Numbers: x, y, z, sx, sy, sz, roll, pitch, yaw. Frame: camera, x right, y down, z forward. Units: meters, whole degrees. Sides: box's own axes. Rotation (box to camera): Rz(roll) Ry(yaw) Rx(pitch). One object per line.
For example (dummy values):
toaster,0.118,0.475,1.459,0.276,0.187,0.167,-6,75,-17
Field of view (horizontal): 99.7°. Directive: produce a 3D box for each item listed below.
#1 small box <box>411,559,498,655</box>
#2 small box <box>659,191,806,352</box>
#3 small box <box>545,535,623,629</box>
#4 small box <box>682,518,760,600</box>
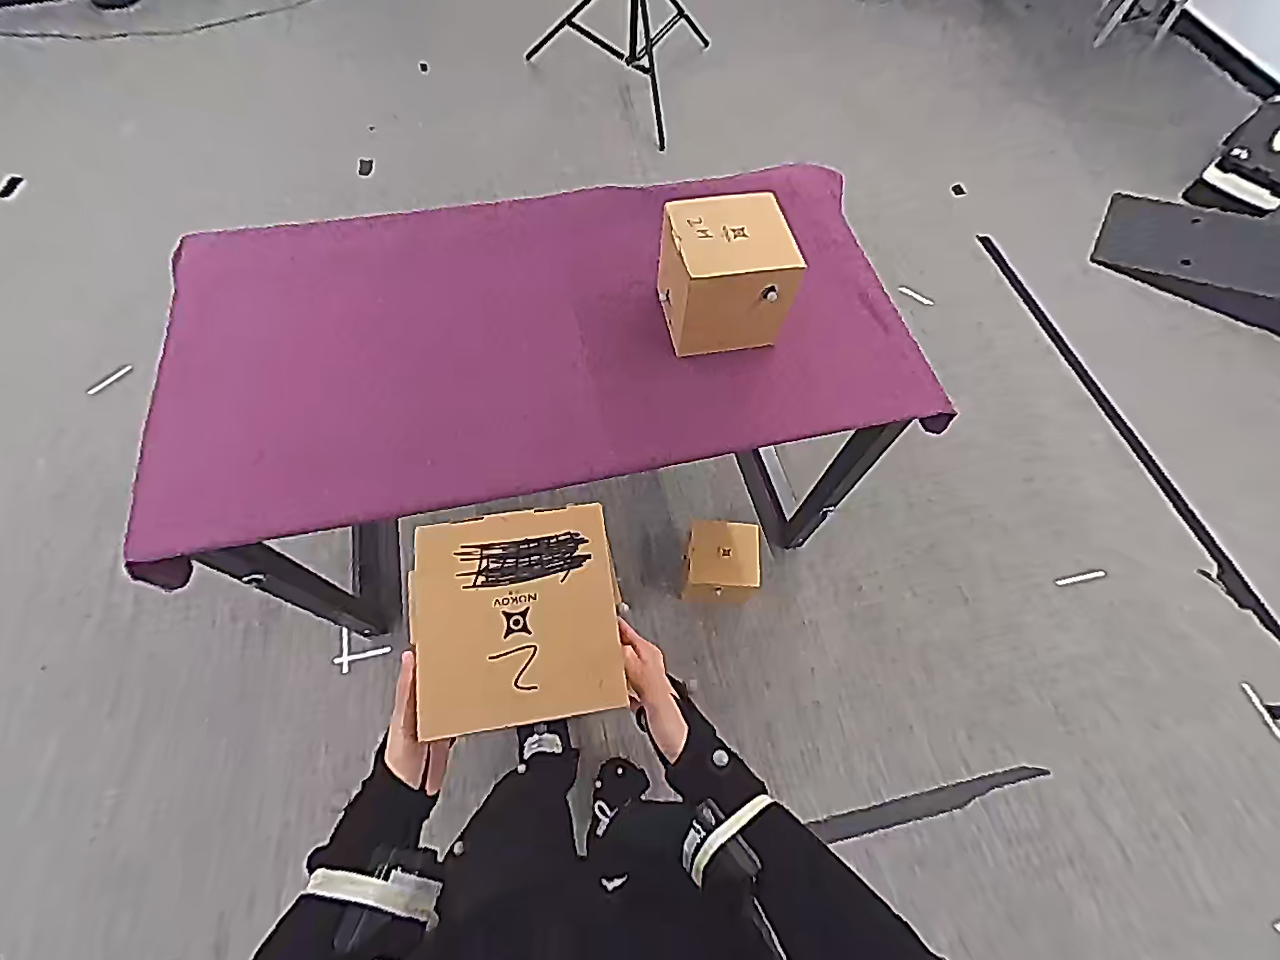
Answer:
small box,-0.452,0.315,1.332,0.168,0.176,0.179,-9,63,-7
small box,0.135,-0.326,0.862,0.179,0.176,0.168,-9,63,-6
small box,-0.142,0.263,1.371,0.168,0.176,0.179,-11,65,-8
small box,0.208,0.212,1.413,0.179,0.176,0.168,4,64,0
